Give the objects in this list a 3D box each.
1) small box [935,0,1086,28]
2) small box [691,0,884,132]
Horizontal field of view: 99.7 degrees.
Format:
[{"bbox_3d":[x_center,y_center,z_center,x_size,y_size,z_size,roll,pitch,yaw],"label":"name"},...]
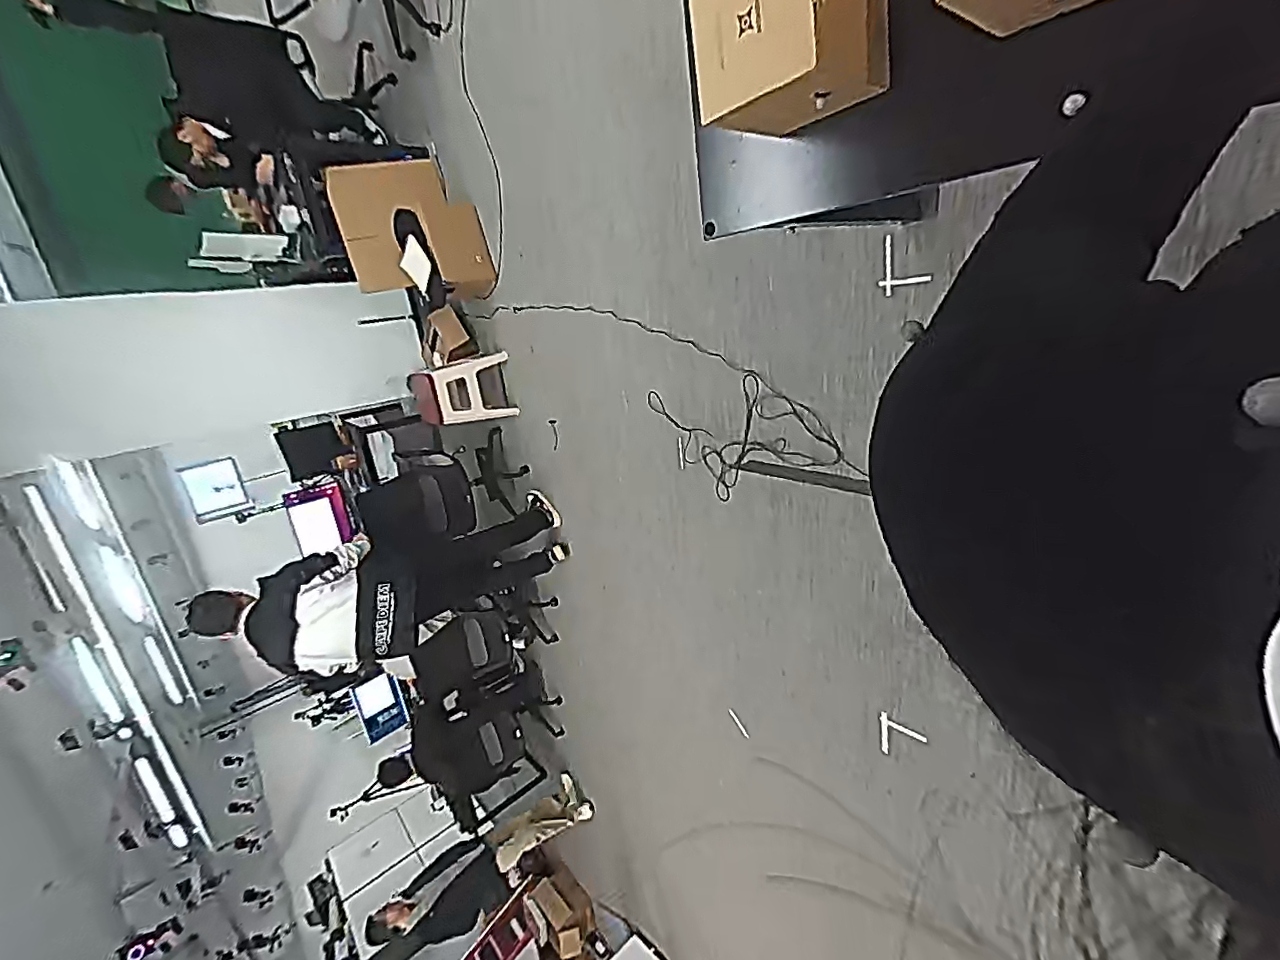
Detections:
[{"bbox_3d":[0.377,-0.525,0.455,0.179,0.176,0.168,16,119,49],"label":"small box"},{"bbox_3d":[0.190,-0.563,0.679,0.179,0.176,0.168,10,114,50],"label":"small box"}]
